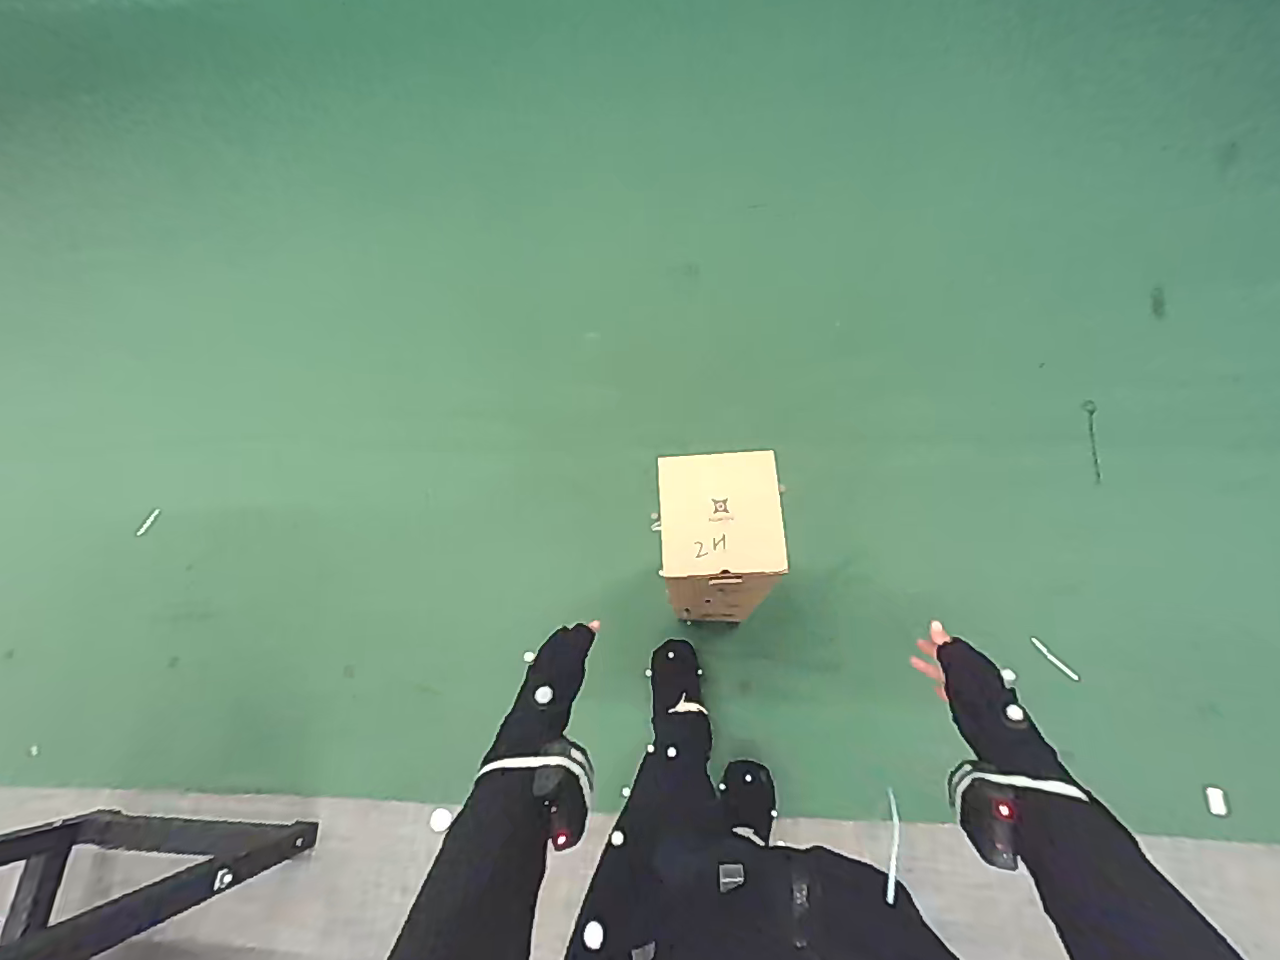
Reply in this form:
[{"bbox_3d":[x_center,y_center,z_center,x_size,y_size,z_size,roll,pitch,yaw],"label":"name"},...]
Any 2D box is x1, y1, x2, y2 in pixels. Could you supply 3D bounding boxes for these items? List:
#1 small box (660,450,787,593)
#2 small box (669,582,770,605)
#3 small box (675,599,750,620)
[{"bbox_3d":[0.117,0.070,0.819,0.168,0.176,0.179,-4,71,5],"label":"small box"},{"bbox_3d":[0.134,0.125,0.973,0.168,0.176,0.179,-3,71,5],"label":"small box"},{"bbox_3d":[0.171,0.237,1.279,0.168,0.176,0.179,0,71,6],"label":"small box"}]
